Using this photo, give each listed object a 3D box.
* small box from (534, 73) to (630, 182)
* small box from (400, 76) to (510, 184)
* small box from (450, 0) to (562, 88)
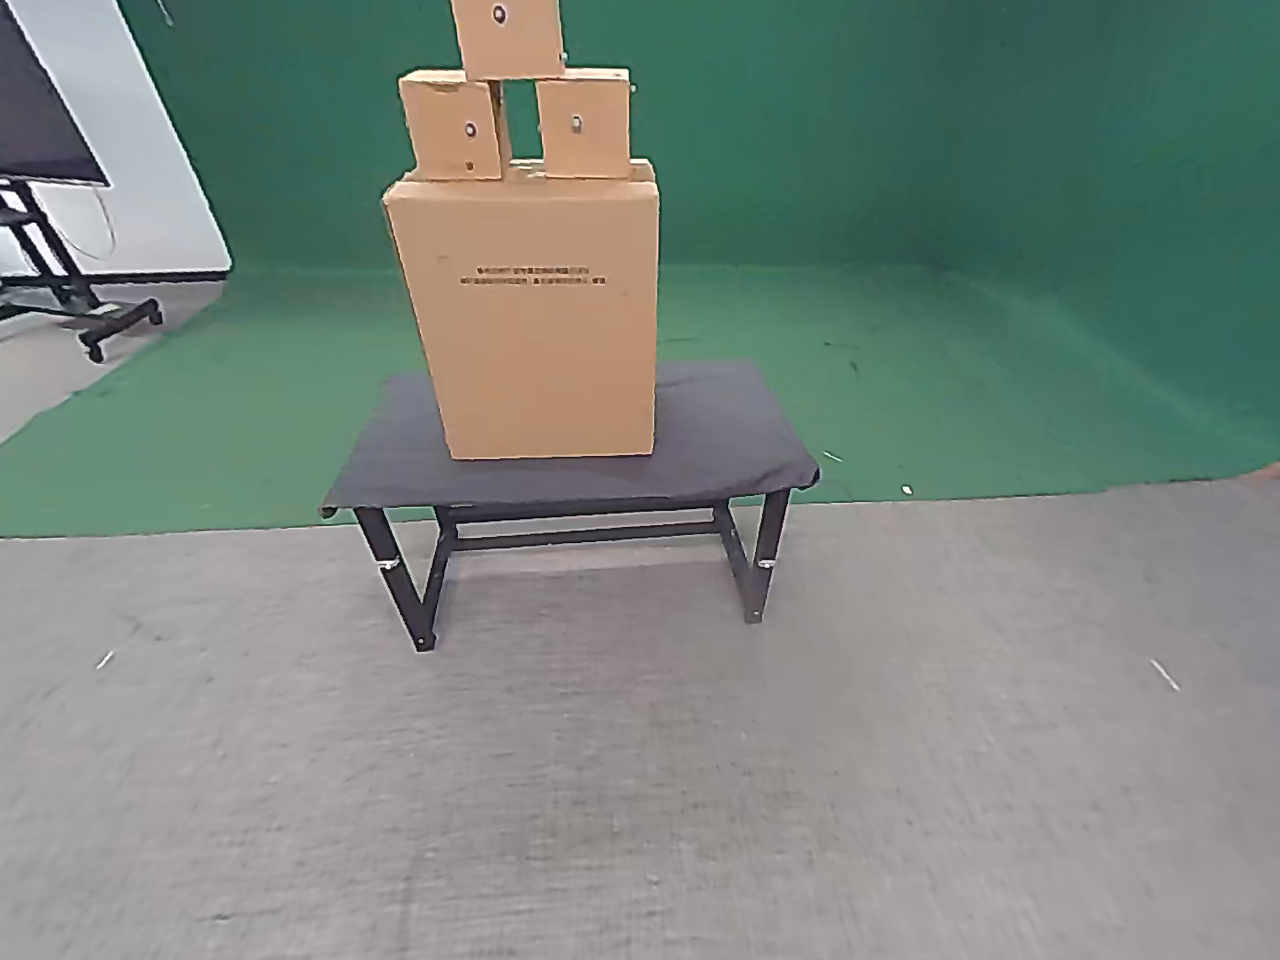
[{"bbox_3d":[-0.112,-0.731,1.122,0.179,0.176,0.168,-2,43,0],"label":"small box"},{"bbox_3d":[-0.368,-0.720,1.114,0.168,0.176,0.179,-1,41,-4],"label":"small box"},{"bbox_3d":[-0.243,-0.848,1.008,0.179,0.176,0.168,-4,42,-1],"label":"small box"}]
